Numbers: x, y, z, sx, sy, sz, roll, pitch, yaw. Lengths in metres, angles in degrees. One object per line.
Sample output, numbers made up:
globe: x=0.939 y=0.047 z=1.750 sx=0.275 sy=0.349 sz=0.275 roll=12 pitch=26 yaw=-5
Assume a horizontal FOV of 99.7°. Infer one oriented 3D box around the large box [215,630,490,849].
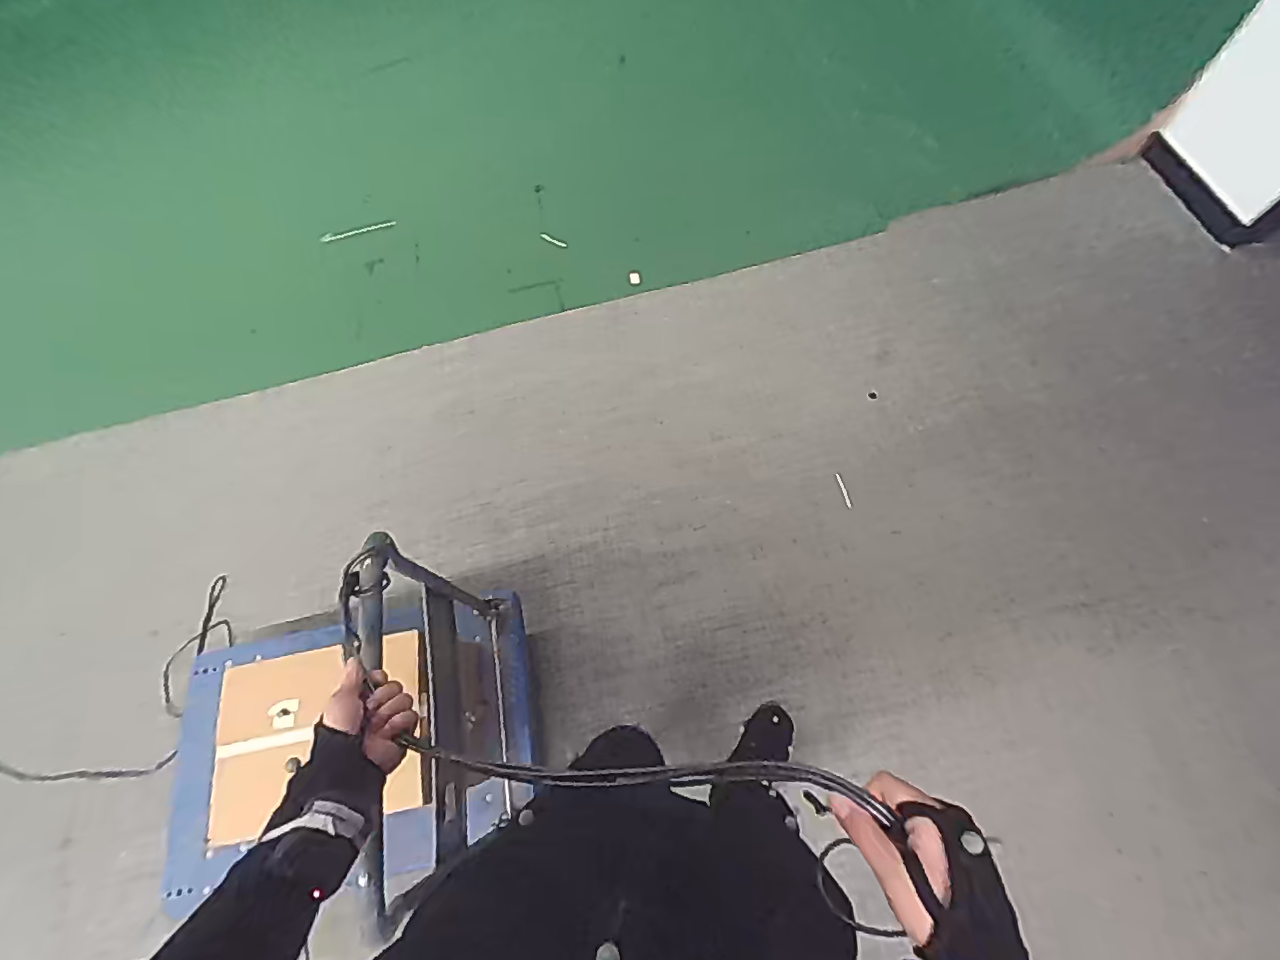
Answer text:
large box: x=-0.576 y=0.529 z=1.150 sx=0.408 sy=0.320 sz=0.320 roll=-13 pitch=67 yaw=3
